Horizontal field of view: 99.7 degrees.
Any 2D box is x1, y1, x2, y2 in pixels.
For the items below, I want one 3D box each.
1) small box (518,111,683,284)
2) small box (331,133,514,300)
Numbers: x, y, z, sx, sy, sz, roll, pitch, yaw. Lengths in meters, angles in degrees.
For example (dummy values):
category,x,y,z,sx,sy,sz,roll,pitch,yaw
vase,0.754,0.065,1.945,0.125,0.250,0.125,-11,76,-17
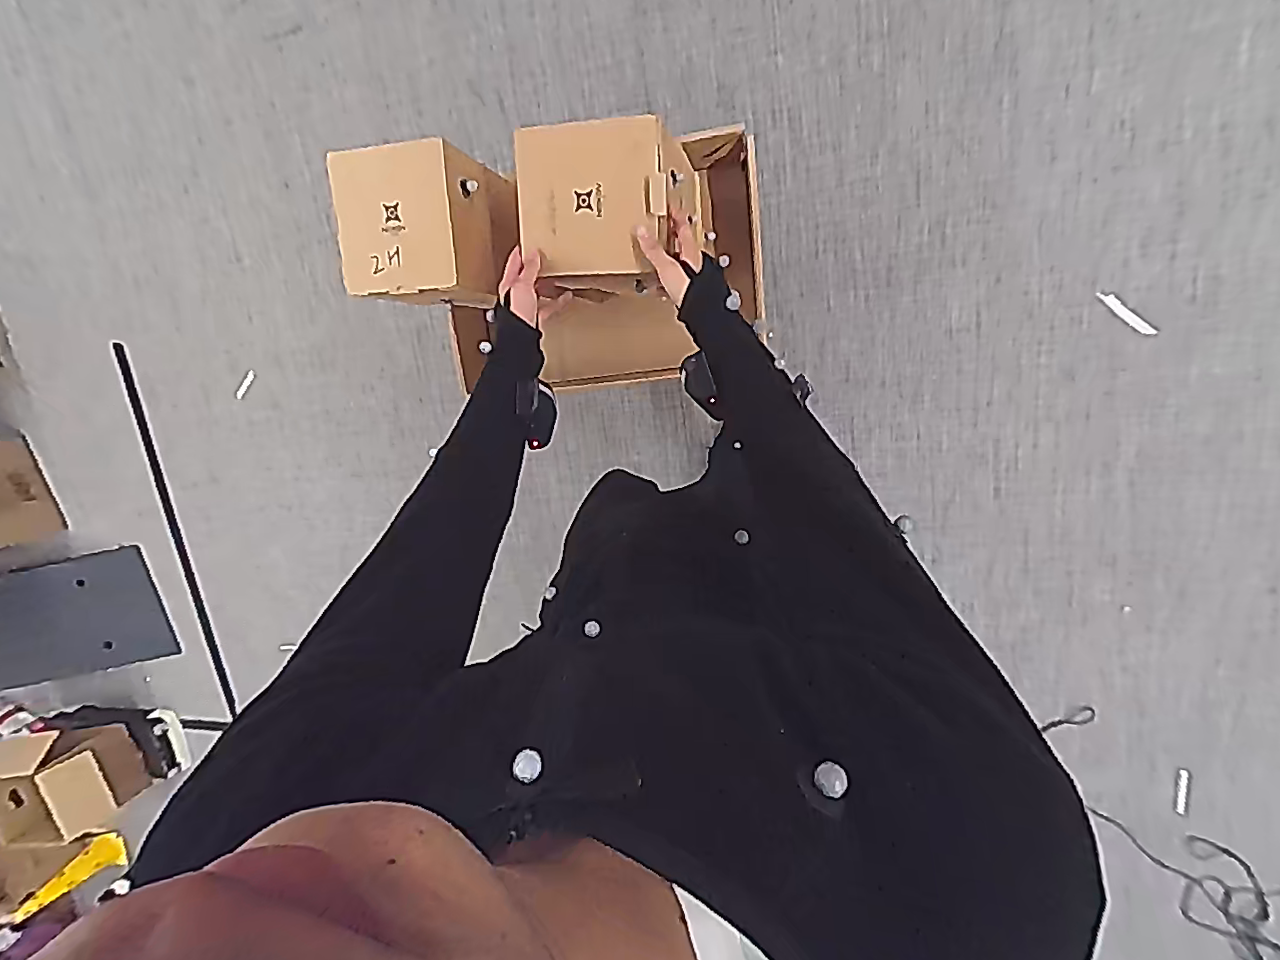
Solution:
category,x,y,z,sx,sy,sz,roll,pitch,yaw
small box,-0.040,-0.350,0.703,0.179,0.176,0.168,3,105,13
small box,-0.291,-0.354,0.760,0.168,0.176,0.179,1,105,12
